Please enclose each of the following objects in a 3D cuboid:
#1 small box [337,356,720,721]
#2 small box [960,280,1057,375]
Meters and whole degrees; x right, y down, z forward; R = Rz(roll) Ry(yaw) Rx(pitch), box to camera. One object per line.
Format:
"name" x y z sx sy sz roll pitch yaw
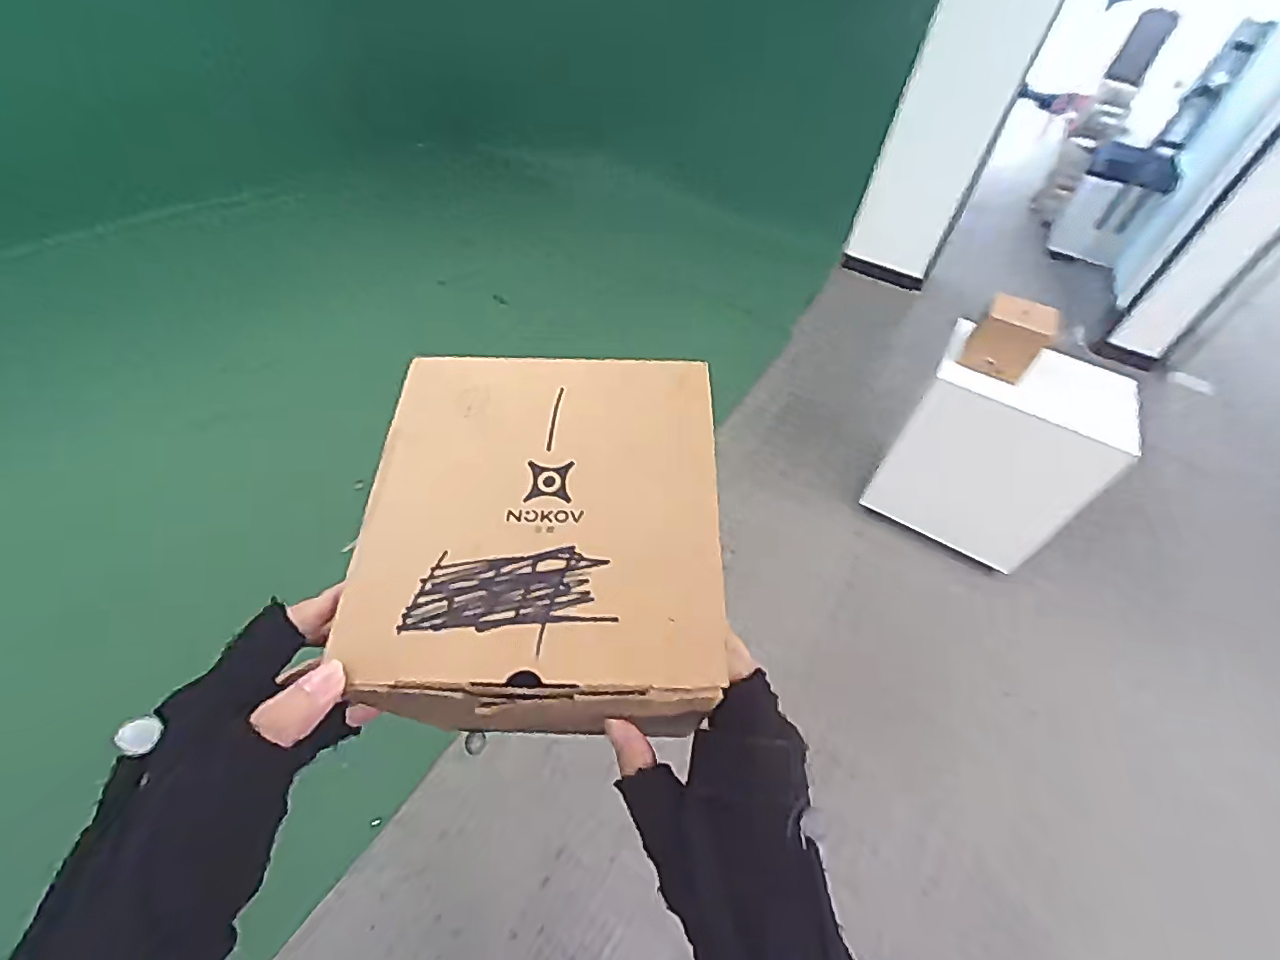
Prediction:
"small box" -0.042 0.046 0.332 0.168 0.176 0.179 1 60 1
"small box" 1.032 -0.427 1.522 0.168 0.176 0.179 26 52 16
